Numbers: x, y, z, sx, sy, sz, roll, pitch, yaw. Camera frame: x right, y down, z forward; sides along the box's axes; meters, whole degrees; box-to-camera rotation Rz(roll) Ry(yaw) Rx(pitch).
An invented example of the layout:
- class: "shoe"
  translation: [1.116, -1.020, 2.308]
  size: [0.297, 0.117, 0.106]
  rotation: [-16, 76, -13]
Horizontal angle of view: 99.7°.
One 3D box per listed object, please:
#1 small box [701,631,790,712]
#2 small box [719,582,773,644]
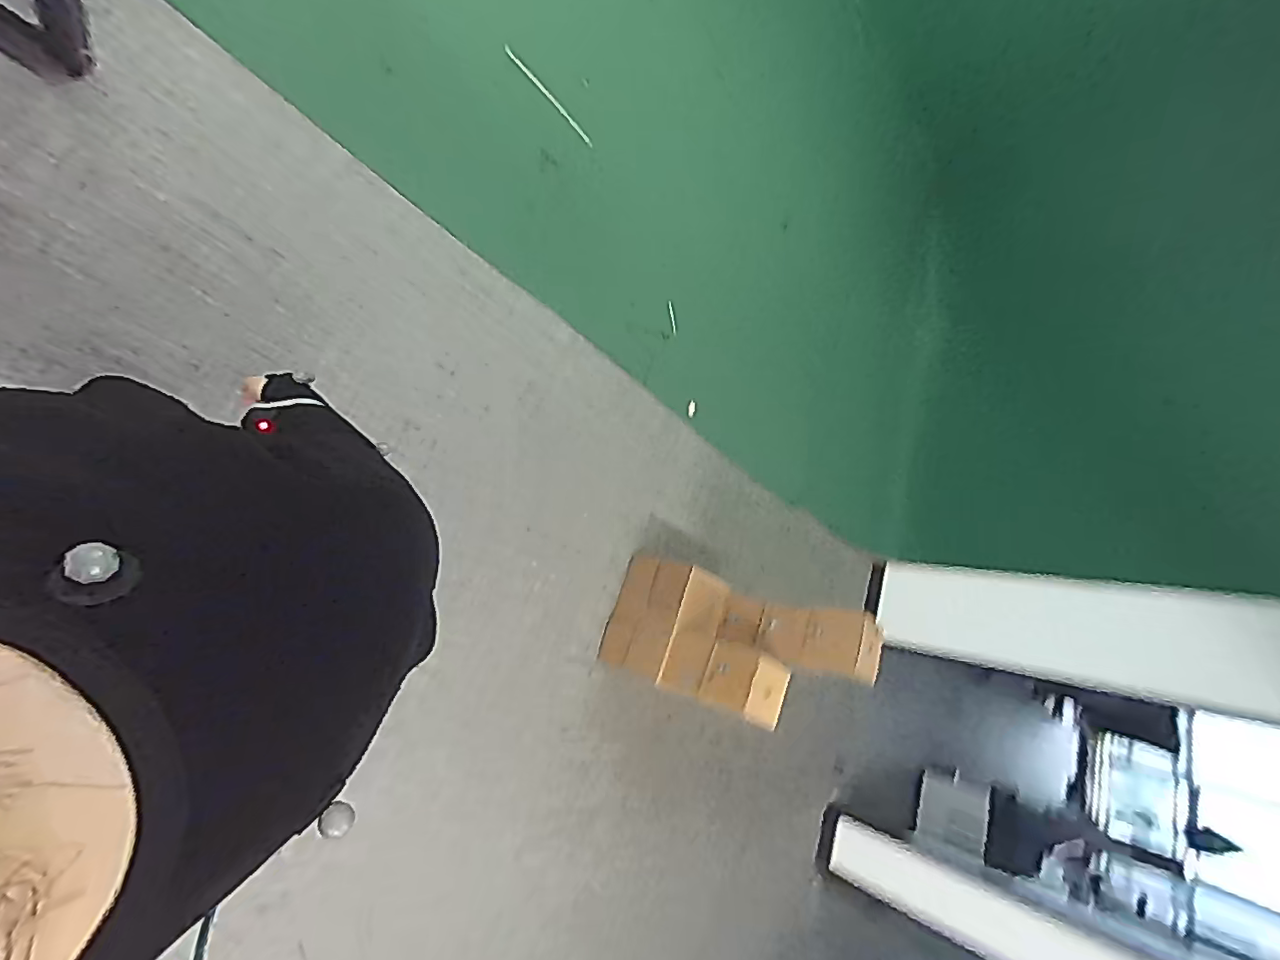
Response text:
- class: "small box"
  translation: [0.315, 0.565, 1.609]
  size: [0.179, 0.176, 0.168]
  rotation: [37, 67, -37]
- class: "small box"
  translation: [0.409, 0.474, 1.925]
  size: [0.179, 0.176, 0.168]
  rotation: [35, 67, -40]
